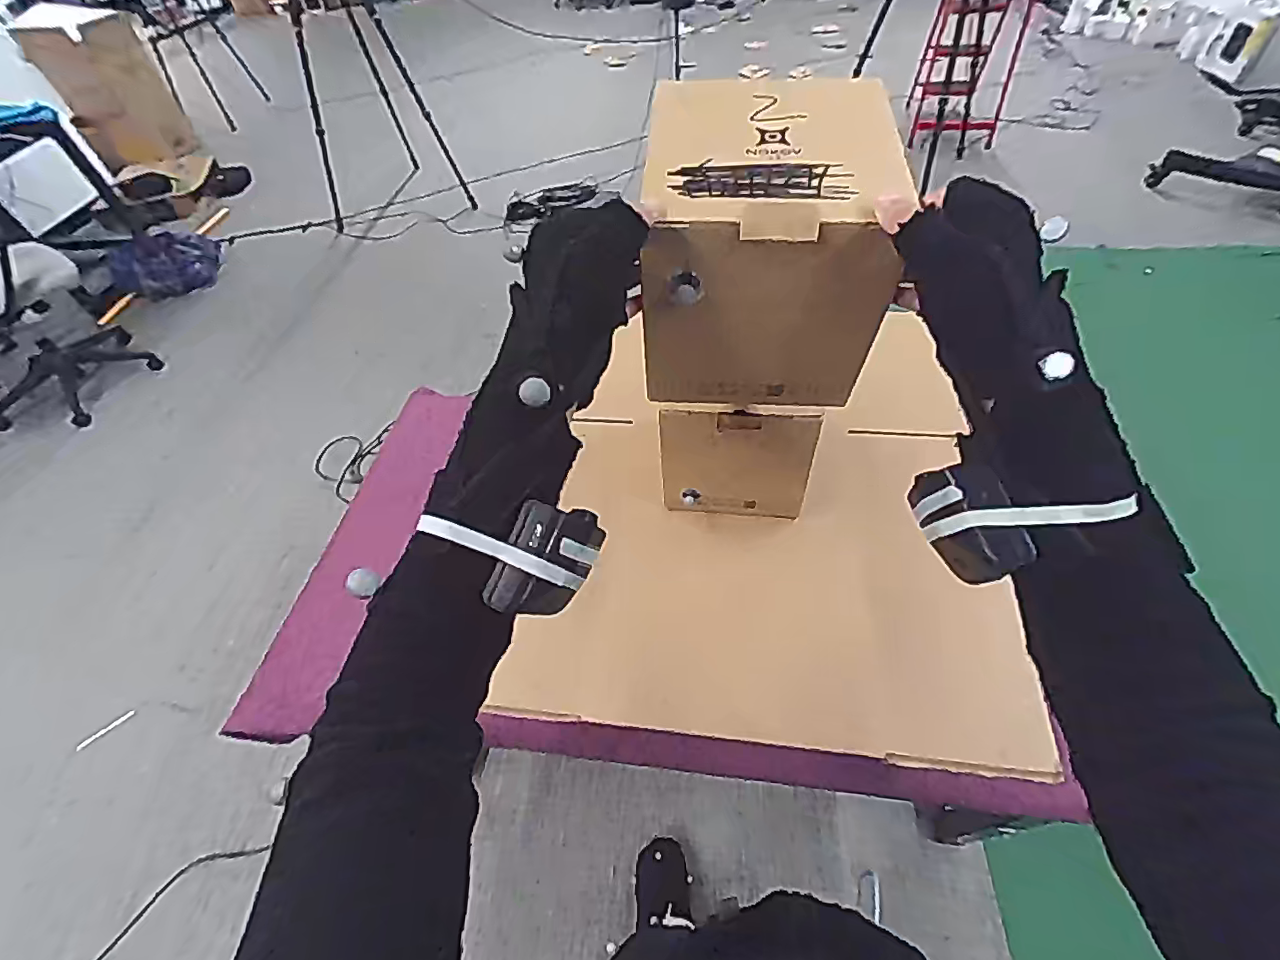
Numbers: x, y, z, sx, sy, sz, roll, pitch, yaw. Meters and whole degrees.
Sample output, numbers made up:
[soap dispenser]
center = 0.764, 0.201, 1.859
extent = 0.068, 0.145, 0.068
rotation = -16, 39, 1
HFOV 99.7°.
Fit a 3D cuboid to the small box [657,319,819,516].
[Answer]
[small box]
center = 0.117, -0.074, 0.656
extent = 0.168, 0.176, 0.179
rotation = 4, 50, 9
